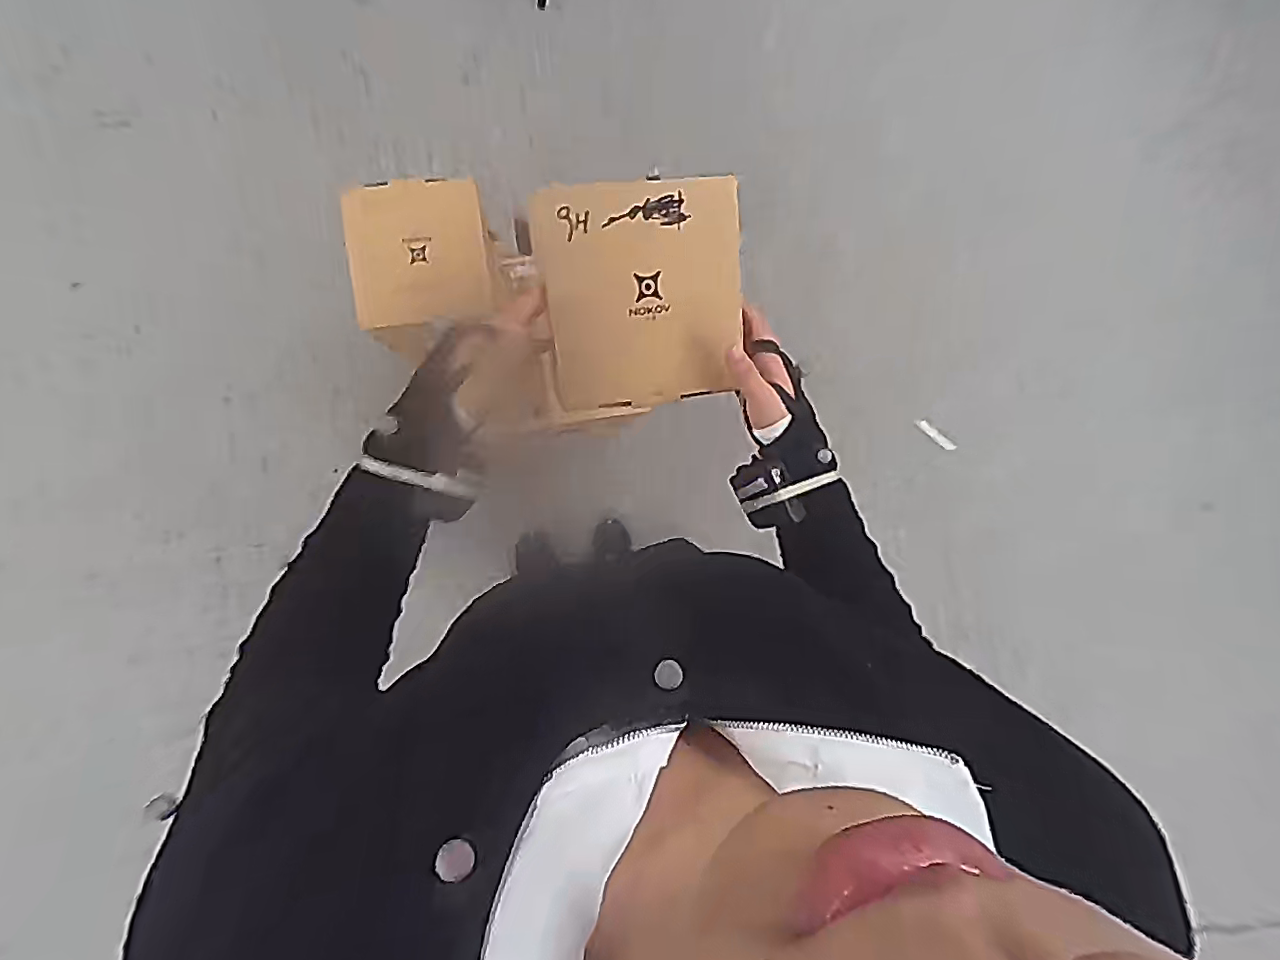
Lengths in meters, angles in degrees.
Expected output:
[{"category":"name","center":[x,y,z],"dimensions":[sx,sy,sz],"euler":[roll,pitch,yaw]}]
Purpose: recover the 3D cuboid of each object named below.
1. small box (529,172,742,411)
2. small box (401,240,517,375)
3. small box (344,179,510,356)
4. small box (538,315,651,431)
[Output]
[{"category":"small box","center":[-0.010,-0.178,0.518],"dimensions":[0.168,0.176,0.179],"euler":[-10,111,-10]},{"category":"small box","center":[-0.306,-0.286,0.911],"dimensions":[0.168,0.176,0.179],"euler":[-9,92,-7]},{"category":"small box","center":[-0.281,-0.283,0.750],"dimensions":[0.168,0.176,0.179],"euler":[-9,92,-7]},{"category":"small box","center":[-0.086,-0.188,0.946],"dimensions":[0.168,0.176,0.179],"euler":[-9,93,-10]}]
